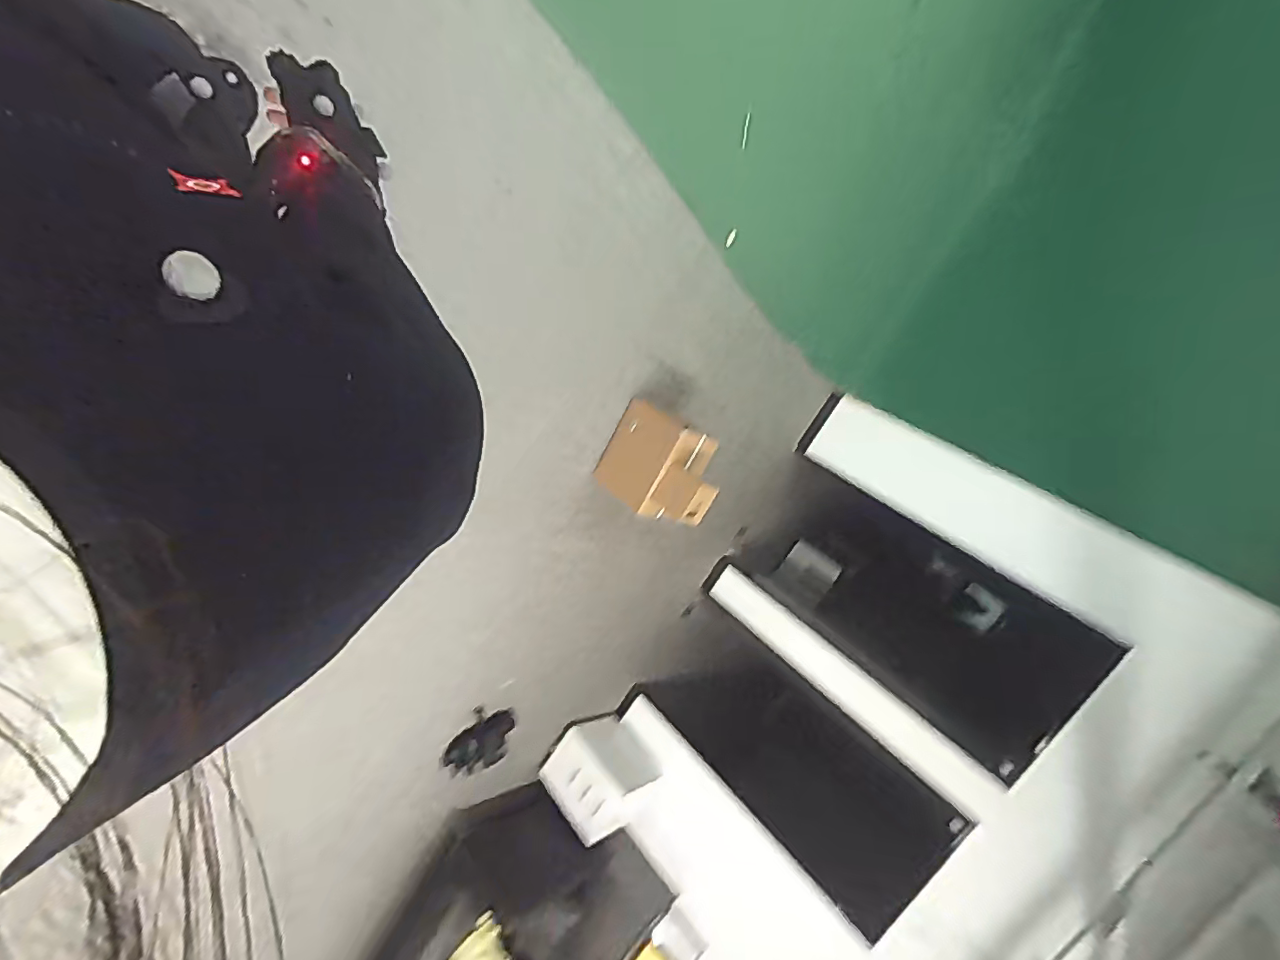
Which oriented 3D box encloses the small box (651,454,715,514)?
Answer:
[{"bbox_3d":[0.169,0.018,2.215,0.168,0.176,0.179,15,108,-55],"label":"small box"}]
